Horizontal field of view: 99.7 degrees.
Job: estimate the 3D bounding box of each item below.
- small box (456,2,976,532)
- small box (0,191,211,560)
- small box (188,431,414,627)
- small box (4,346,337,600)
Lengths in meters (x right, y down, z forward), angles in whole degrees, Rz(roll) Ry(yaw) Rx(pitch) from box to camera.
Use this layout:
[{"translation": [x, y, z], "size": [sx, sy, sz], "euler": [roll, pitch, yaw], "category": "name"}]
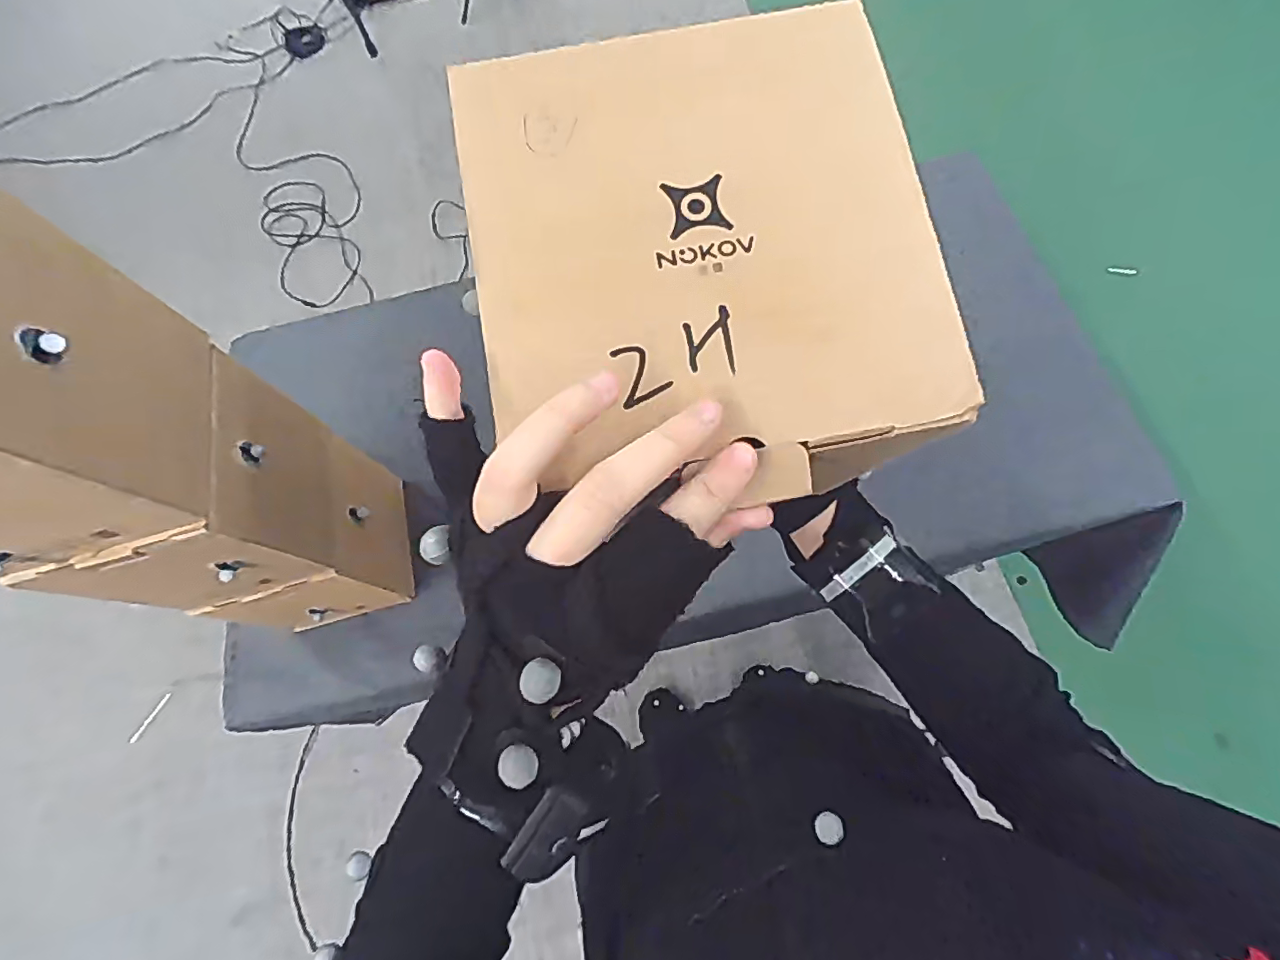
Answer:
[{"translation": [0.022, -0.078, 0.275], "size": [0.168, 0.176, 0.179], "euler": [-10, 80, 0], "category": "small box"}, {"translation": [-0.431, -0.055, 0.362], "size": [0.168, 0.176, 0.179], "euler": [-16, 69, -1], "category": "small box"}, {"translation": [-0.400, 0.069, 0.663], "size": [0.168, 0.176, 0.179], "euler": [-16, 69, 0], "category": "small box"}, {"translation": [-0.414, 0.009, 0.512], "size": [0.168, 0.176, 0.179], "euler": [-15, 69, 0], "category": "small box"}]
